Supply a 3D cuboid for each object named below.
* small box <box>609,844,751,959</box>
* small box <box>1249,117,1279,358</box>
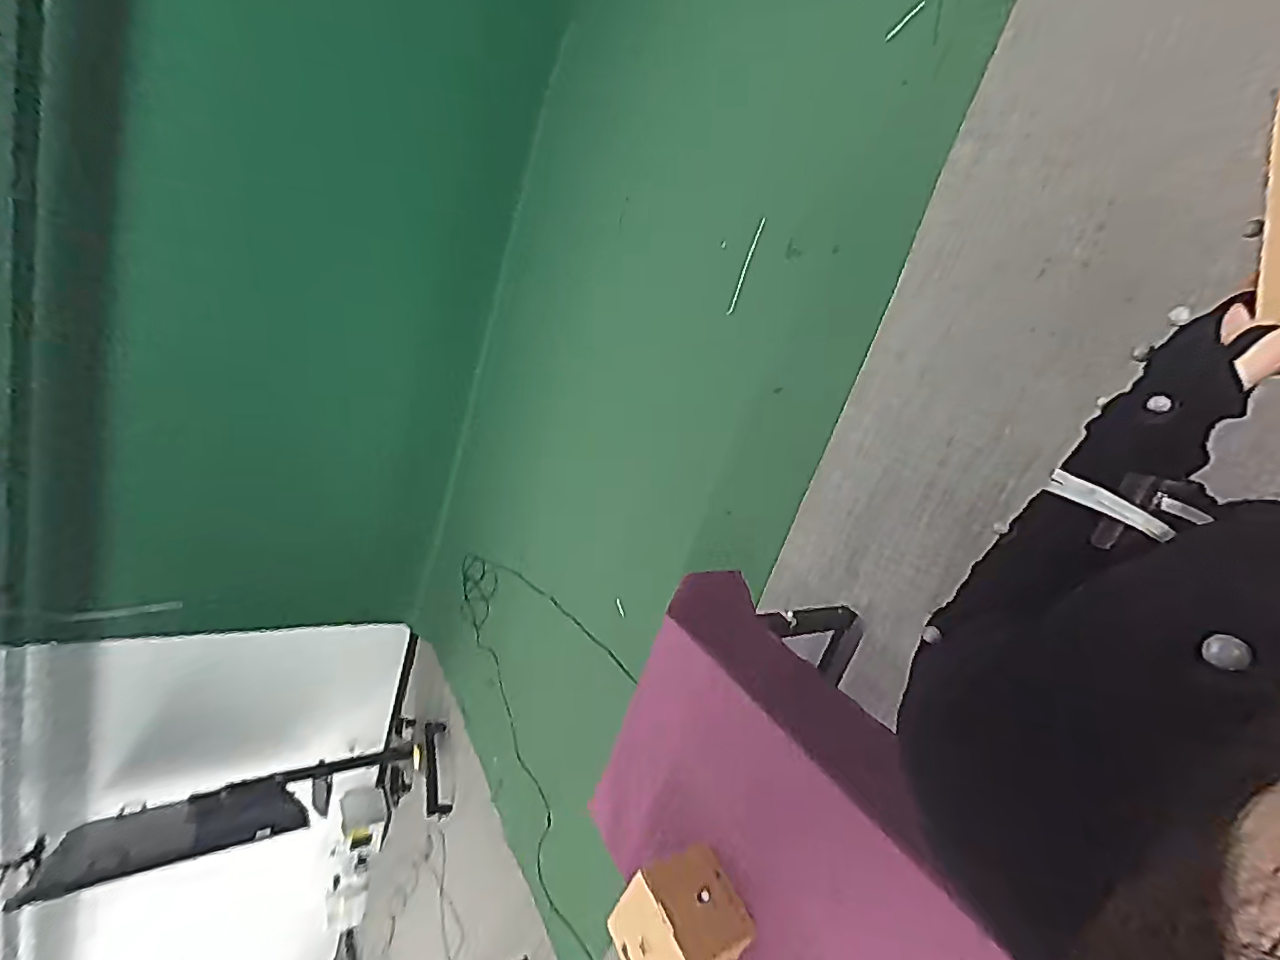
[{"bbox_3d":[0.076,0.816,0.993,0.168,0.176,0.179,47,119,46],"label":"small box"},{"bbox_3d":[0.548,-0.181,0.361,0.168,0.176,0.179,8,93,53],"label":"small box"}]
